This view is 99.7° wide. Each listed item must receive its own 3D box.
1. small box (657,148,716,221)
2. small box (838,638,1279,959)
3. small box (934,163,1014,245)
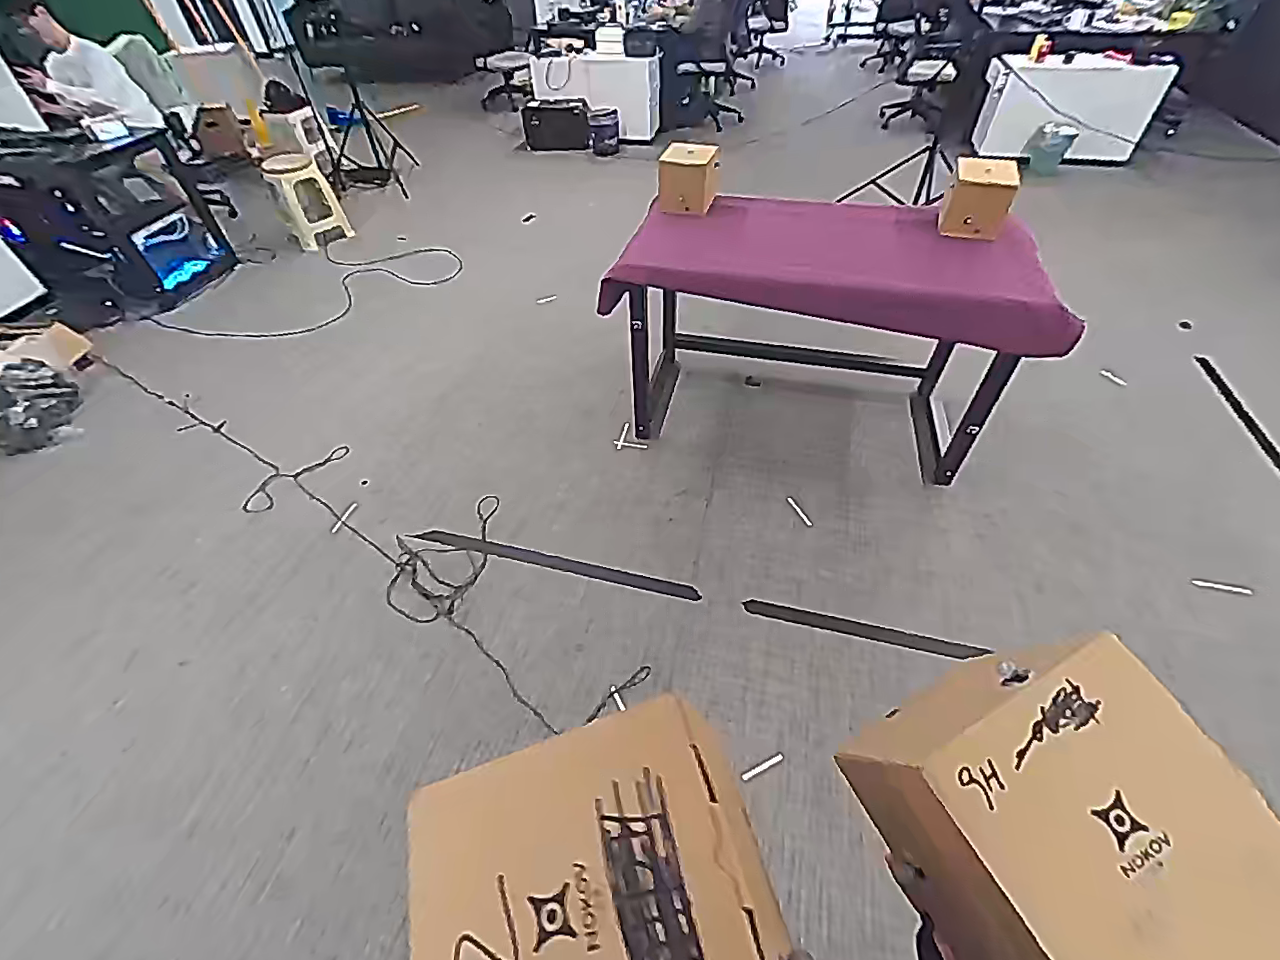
[{"bbox_3d":[0.161,-1.032,1.888,0.168,0.176,0.179,13,51,14],"label":"small box"},{"bbox_3d":[0.277,0.236,0.383,0.168,0.176,0.179,-26,69,-11],"label":"small box"},{"bbox_3d":[1.044,-0.871,1.705,0.168,0.176,0.179,13,53,14],"label":"small box"}]
